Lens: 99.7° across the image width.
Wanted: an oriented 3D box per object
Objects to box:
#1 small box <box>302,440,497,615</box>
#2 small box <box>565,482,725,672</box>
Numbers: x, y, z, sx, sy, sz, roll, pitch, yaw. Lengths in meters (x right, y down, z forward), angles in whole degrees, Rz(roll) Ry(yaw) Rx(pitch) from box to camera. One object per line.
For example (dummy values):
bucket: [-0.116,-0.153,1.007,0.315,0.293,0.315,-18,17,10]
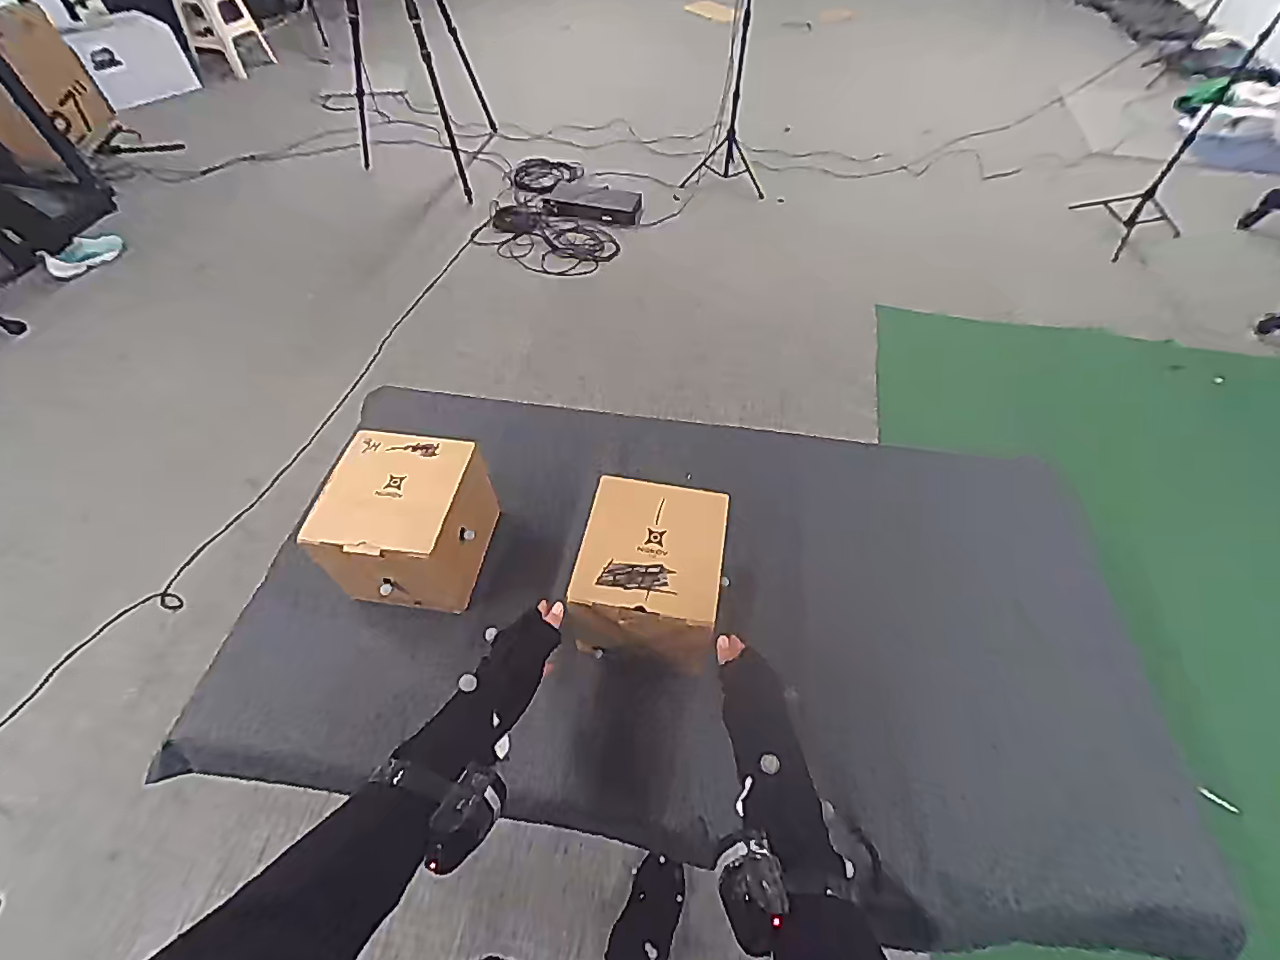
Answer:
small box: [-0.310,0.070,0.746,0.168,0.176,0.179,6,54,4]
small box: [0.013,0.130,0.701,0.168,0.176,0.179,8,53,6]
